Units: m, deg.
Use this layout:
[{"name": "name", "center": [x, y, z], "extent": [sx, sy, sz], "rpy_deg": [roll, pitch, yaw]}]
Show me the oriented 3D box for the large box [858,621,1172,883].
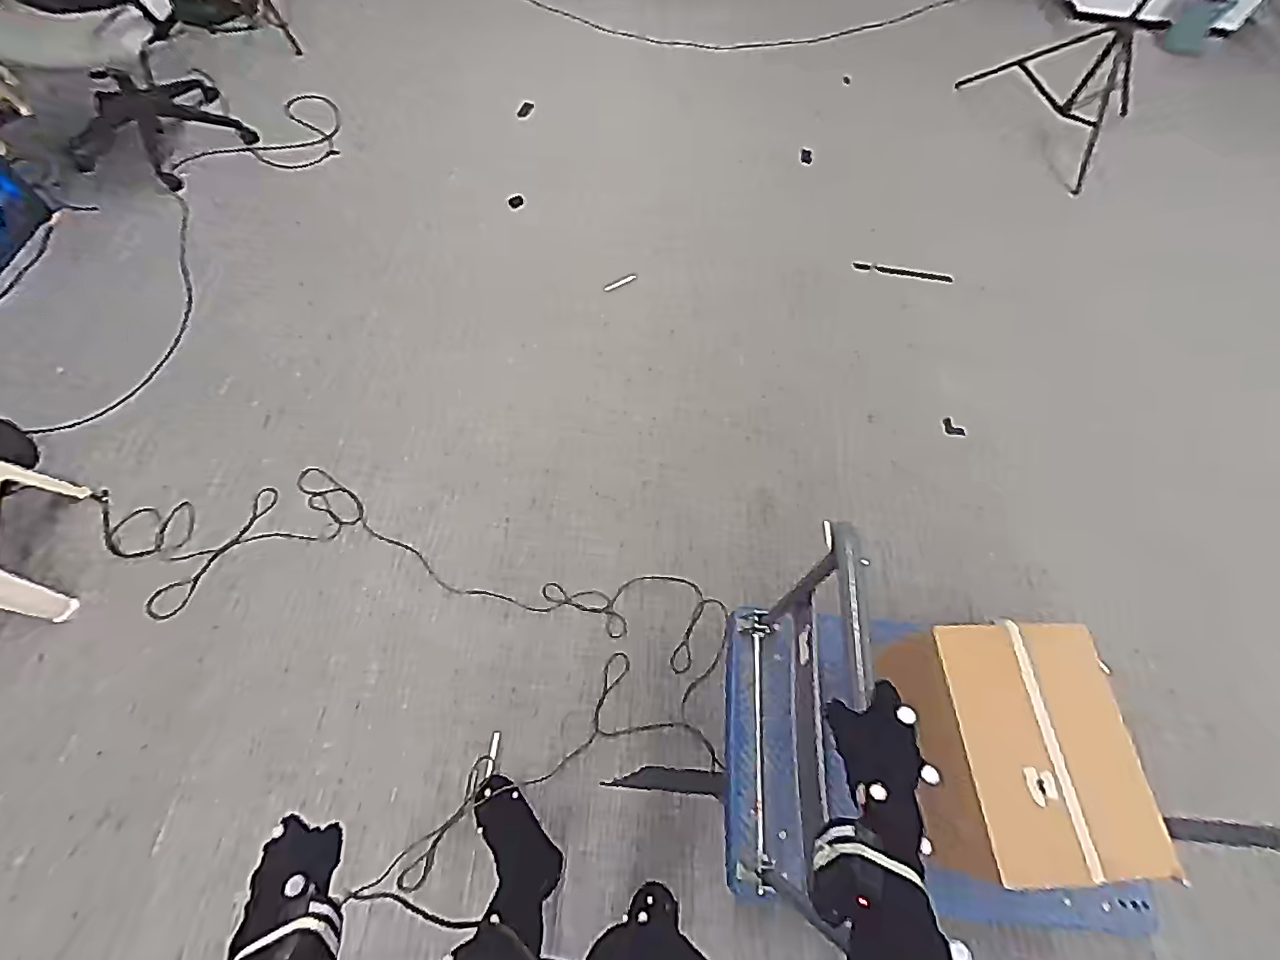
[{"name": "large box", "center": [0.687, 0.515, 1.078], "extent": [0.320, 0.320, 0.408], "rpy_deg": [0, 64, -5]}]
